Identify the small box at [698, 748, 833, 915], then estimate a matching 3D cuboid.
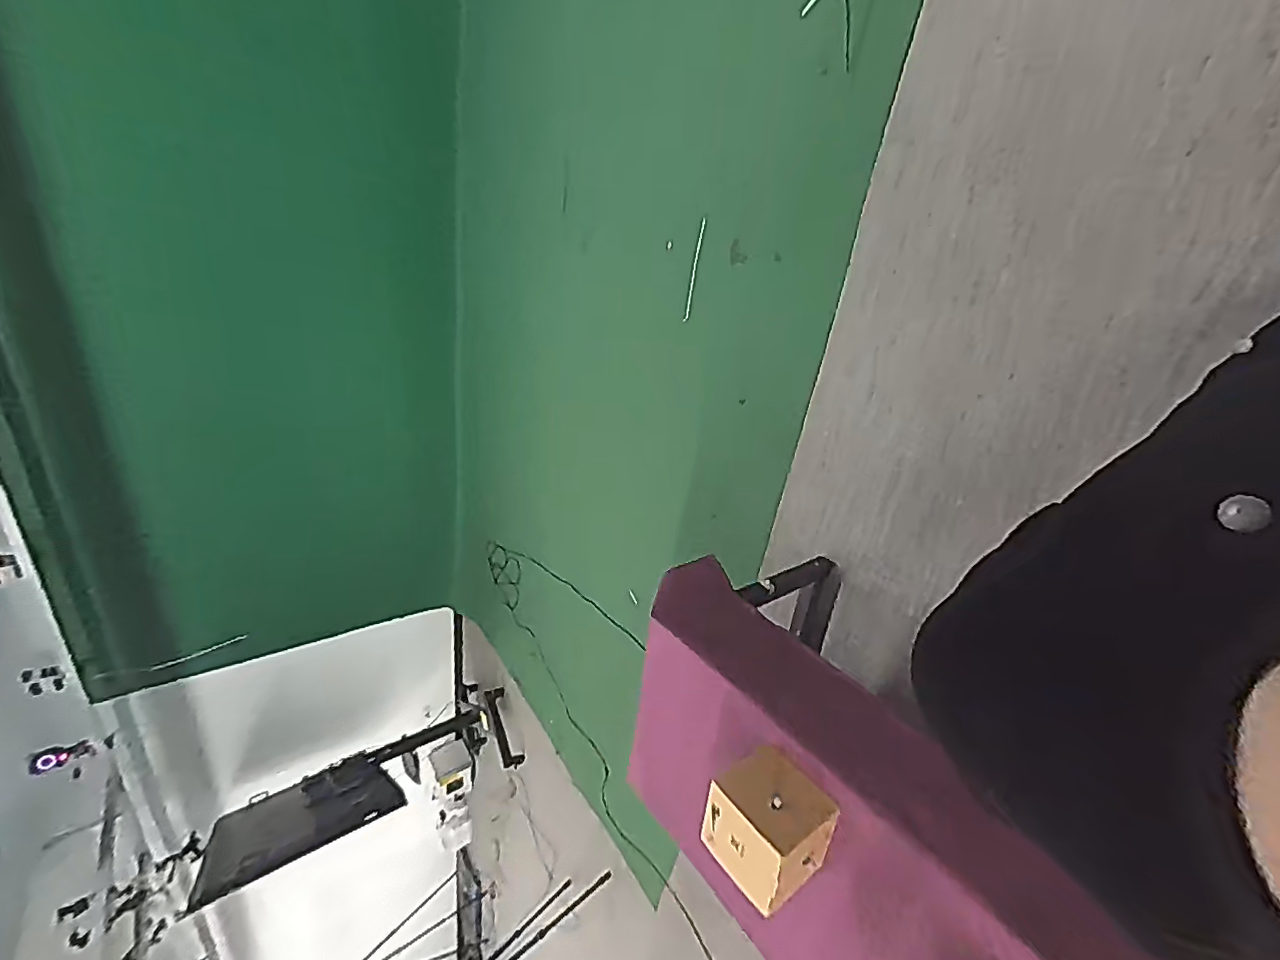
[{"bbox_3d":[0.240,0.658,1.037,0.179,0.176,0.168,30,121,45],"label":"small box"}]
